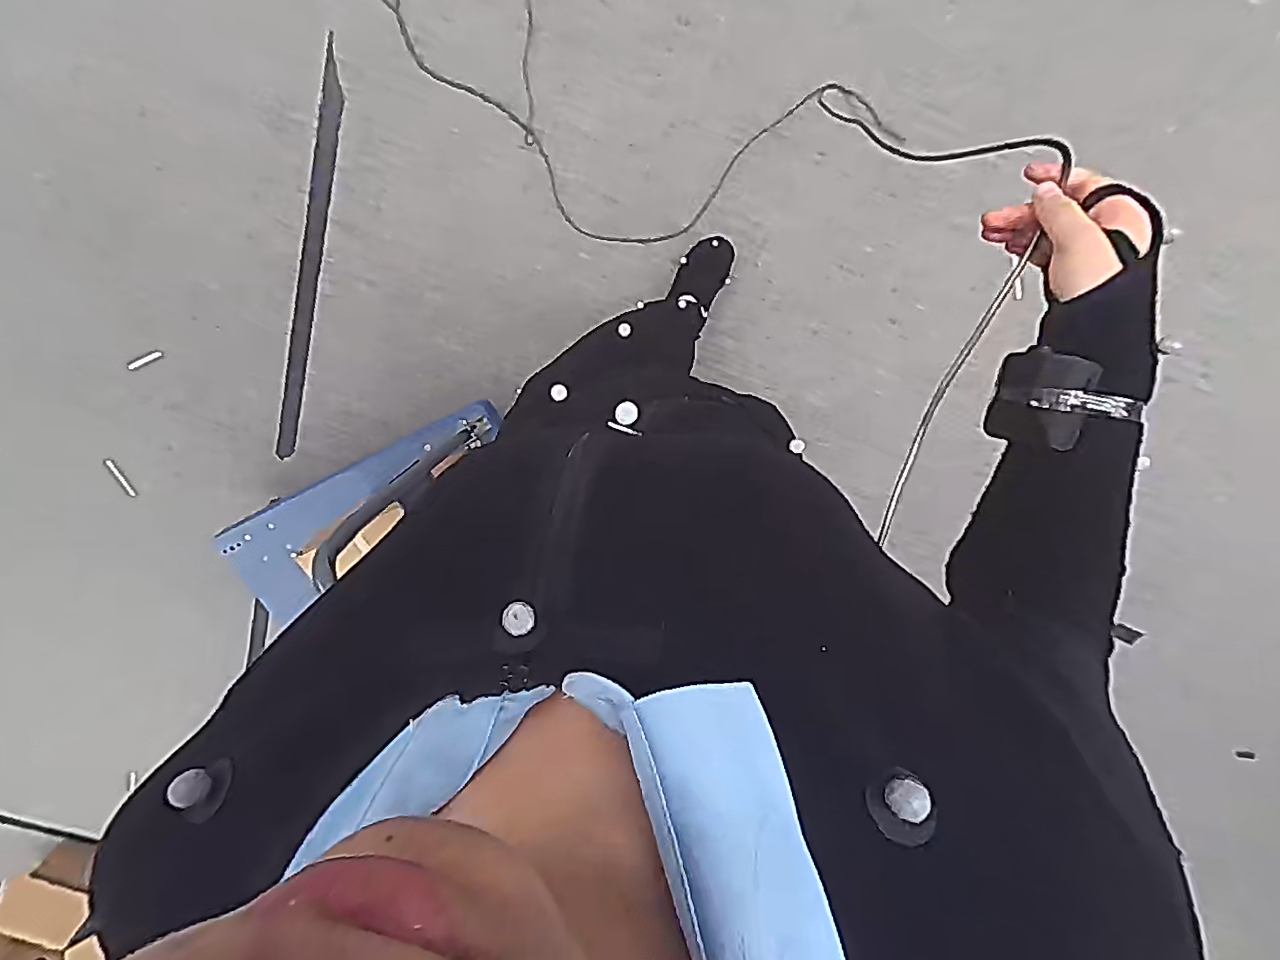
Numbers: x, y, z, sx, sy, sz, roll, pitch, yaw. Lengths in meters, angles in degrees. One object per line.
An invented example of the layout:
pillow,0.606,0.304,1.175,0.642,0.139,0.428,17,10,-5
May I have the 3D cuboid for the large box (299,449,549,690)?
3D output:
large box,-0.467,0.200,1.273,0.320,0.320,0.408,-25,108,10
